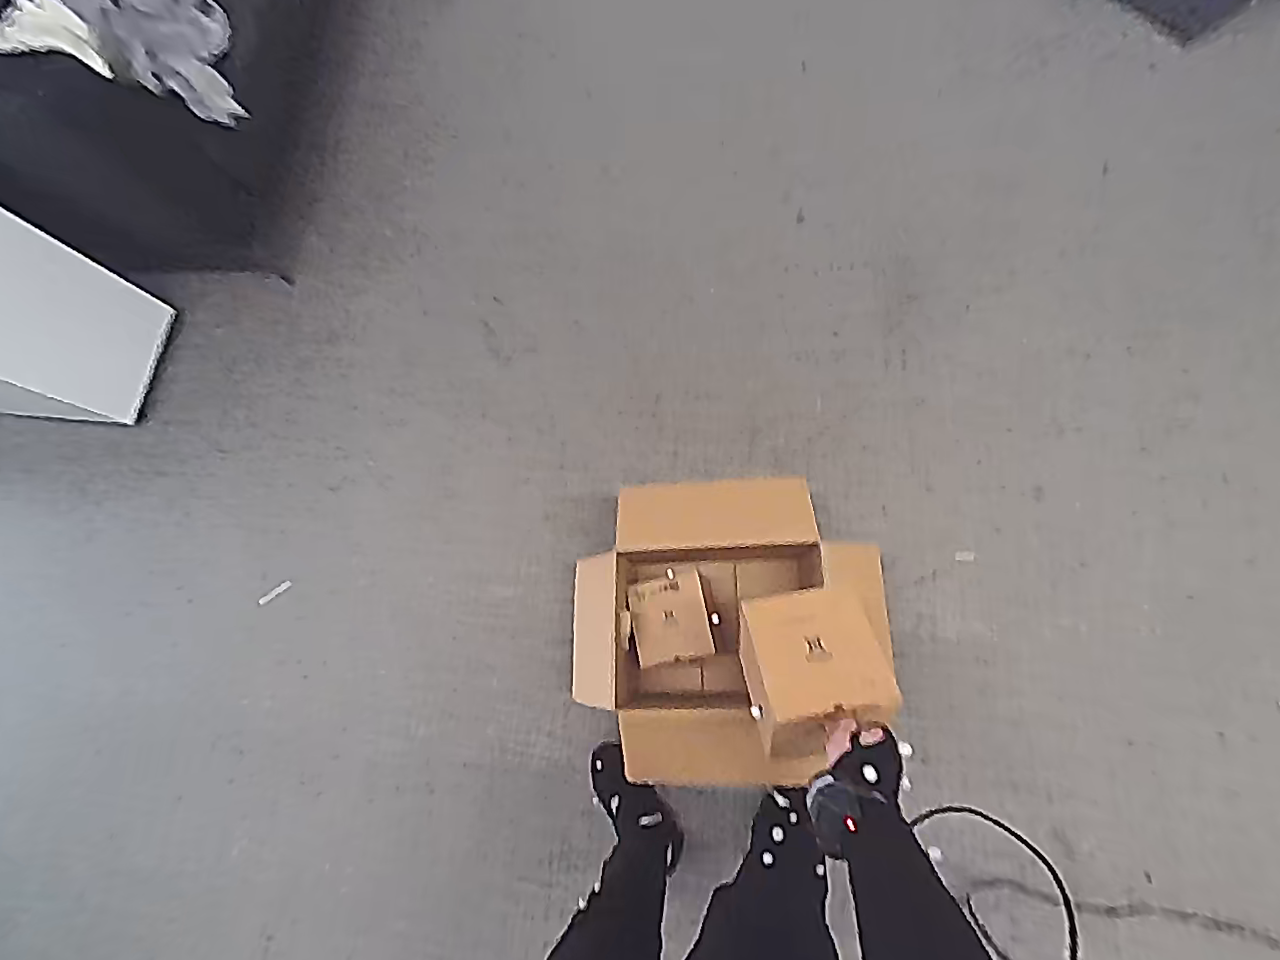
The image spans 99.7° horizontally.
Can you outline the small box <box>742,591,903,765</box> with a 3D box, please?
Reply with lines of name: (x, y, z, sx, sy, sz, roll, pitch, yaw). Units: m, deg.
small box: (0.247, 0.289, 0.779, 0.168, 0.176, 0.179, -9, 42, 0)
